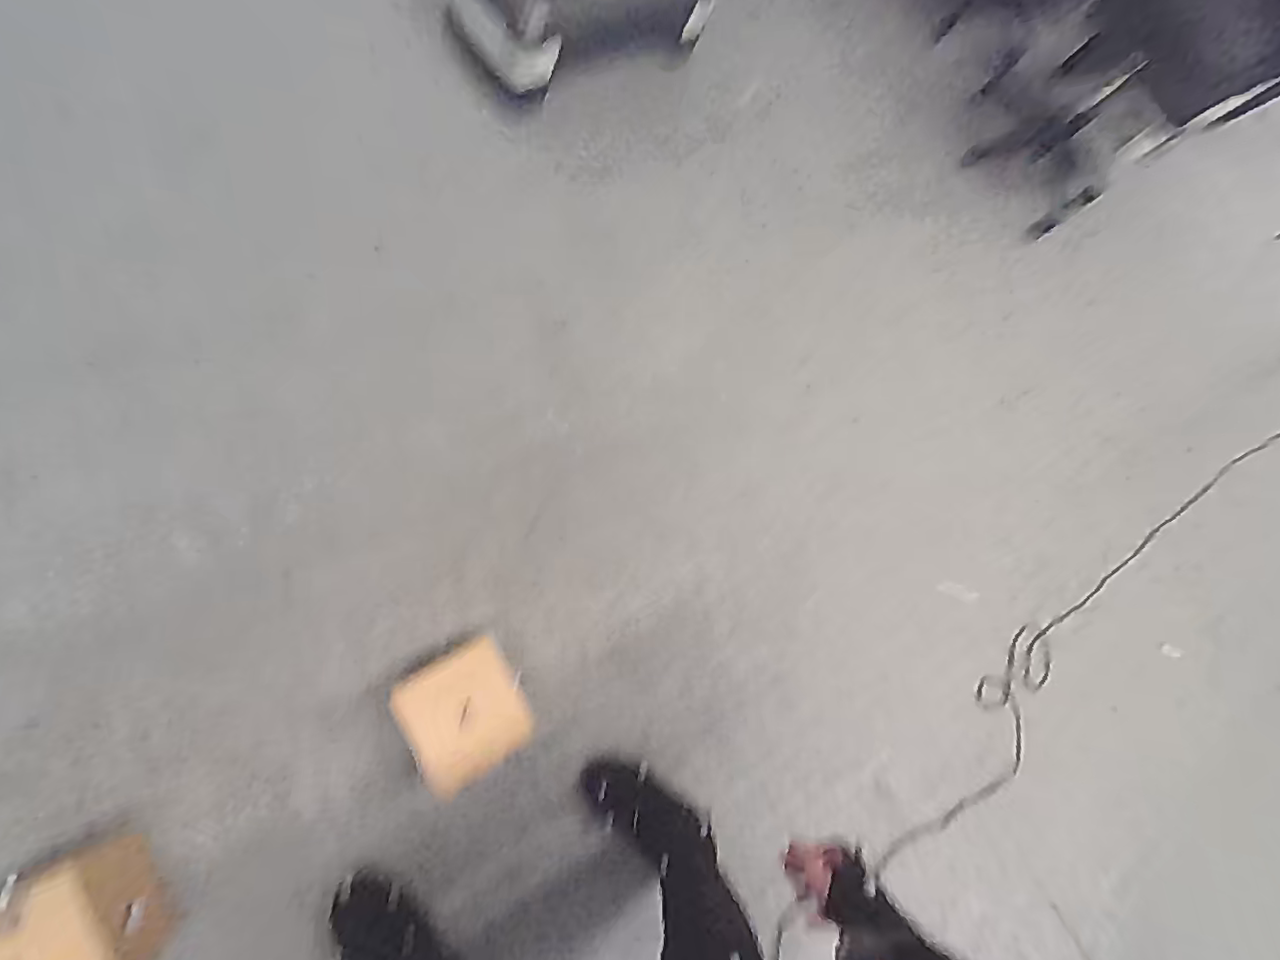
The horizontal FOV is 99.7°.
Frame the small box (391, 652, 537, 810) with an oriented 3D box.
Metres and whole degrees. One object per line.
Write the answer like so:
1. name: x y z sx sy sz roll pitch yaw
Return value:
1. small box: -0.295 0.407 0.915 0.168 0.176 0.179 -28 84 -25
